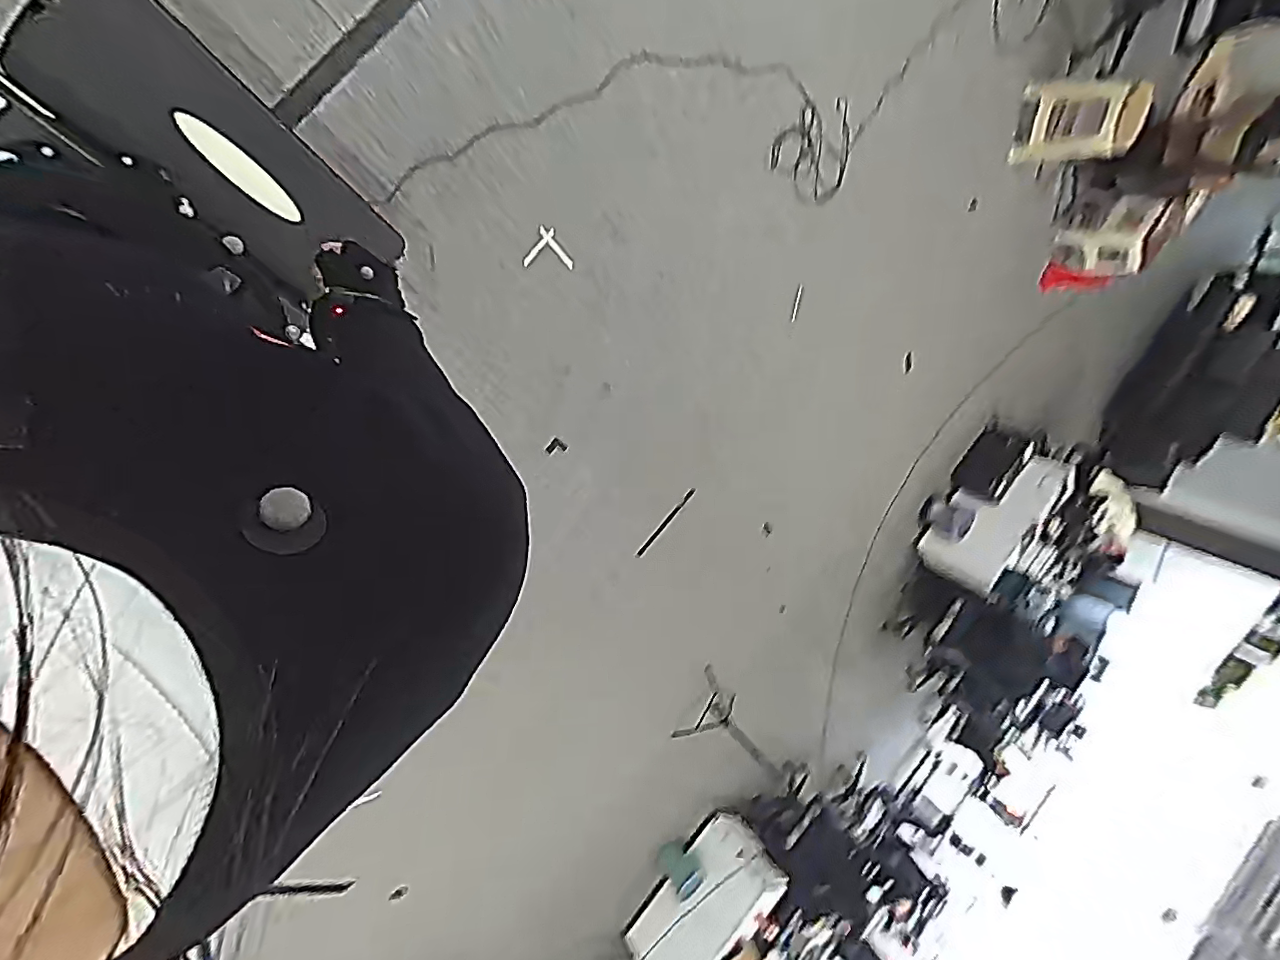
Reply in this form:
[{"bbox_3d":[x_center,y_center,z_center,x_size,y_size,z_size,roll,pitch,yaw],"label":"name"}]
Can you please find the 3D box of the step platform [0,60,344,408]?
[{"bbox_3d":[-0.990,-0.445,1.109,0.286,0.204,0.684,-53,133,-4],"label":"step platform"}]
